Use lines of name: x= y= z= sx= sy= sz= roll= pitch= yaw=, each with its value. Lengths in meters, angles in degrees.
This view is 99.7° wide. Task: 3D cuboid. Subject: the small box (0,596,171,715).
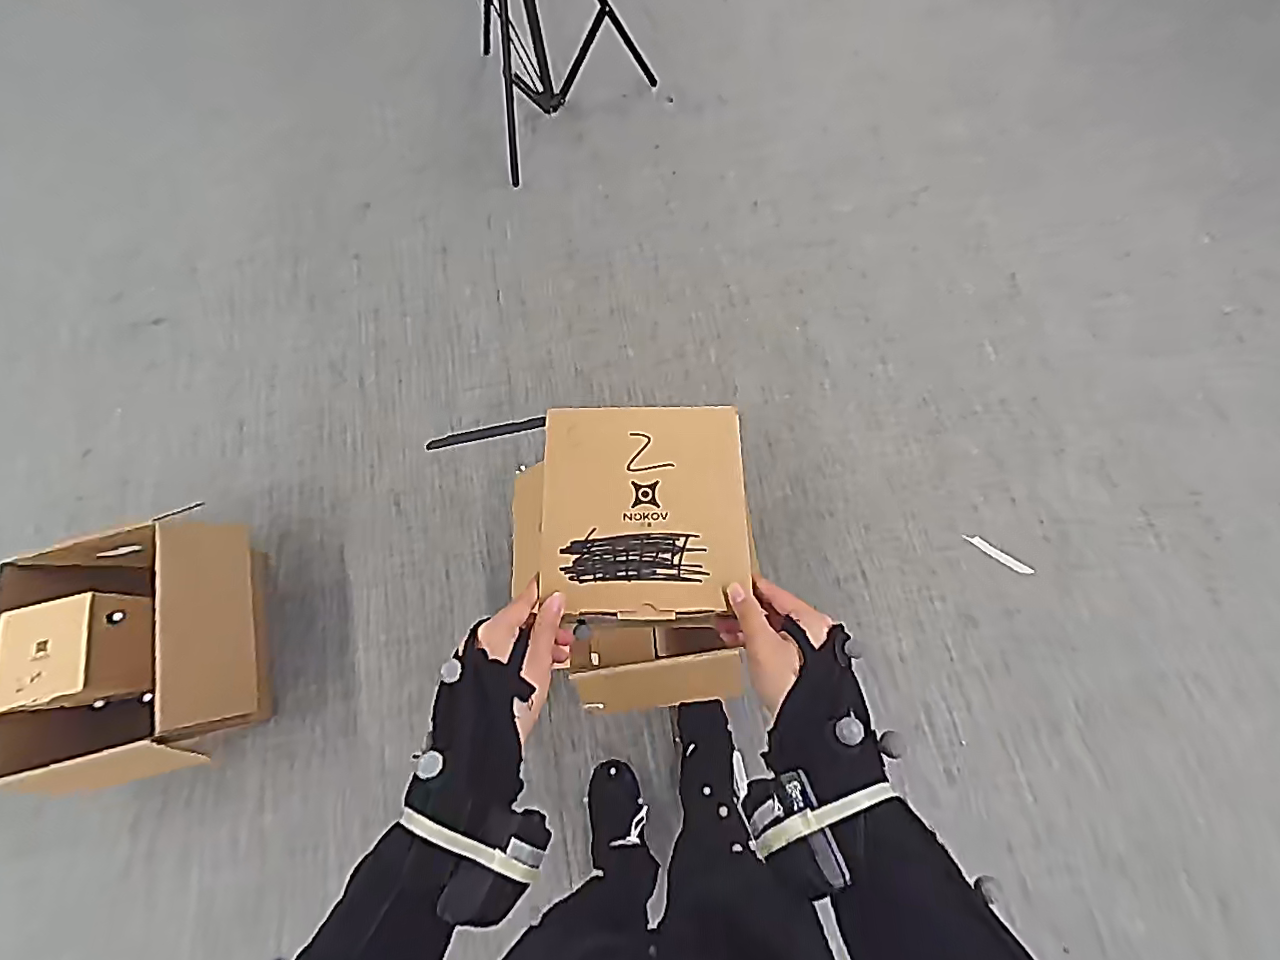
small box: x=-1.041 y=0.332 z=1.027 sx=0.168 sy=0.176 sz=0.179 roll=-14 pitch=72 yaw=-1
